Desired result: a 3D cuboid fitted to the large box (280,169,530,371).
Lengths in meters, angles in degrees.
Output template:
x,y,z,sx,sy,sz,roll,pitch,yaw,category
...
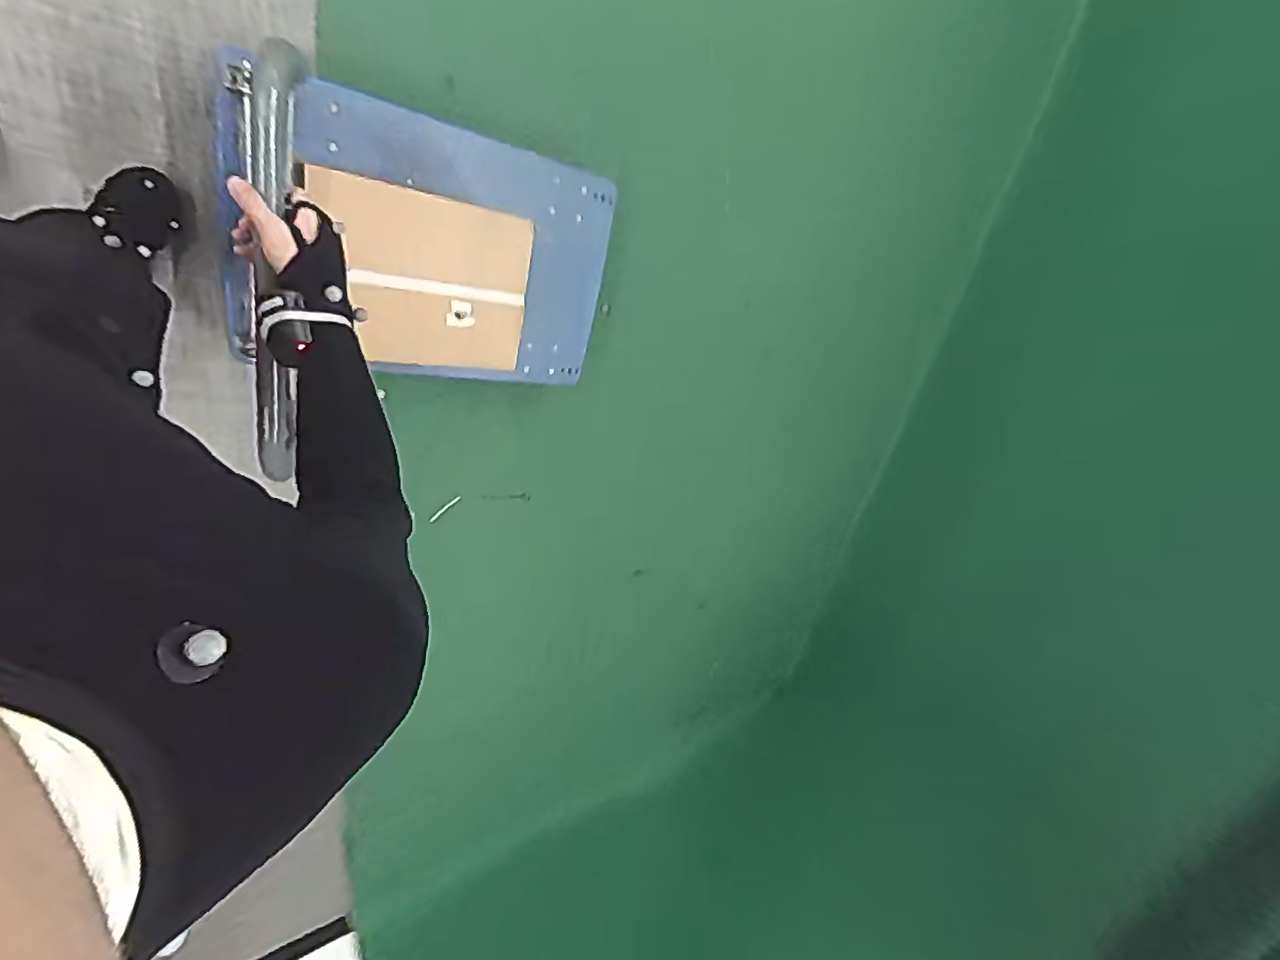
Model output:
x,y,z,sx,sy,sz,roll,pitch,yaw,category
-0.499,-0.432,1.139,0.408,0.320,0.320,-4,119,-38,large box
